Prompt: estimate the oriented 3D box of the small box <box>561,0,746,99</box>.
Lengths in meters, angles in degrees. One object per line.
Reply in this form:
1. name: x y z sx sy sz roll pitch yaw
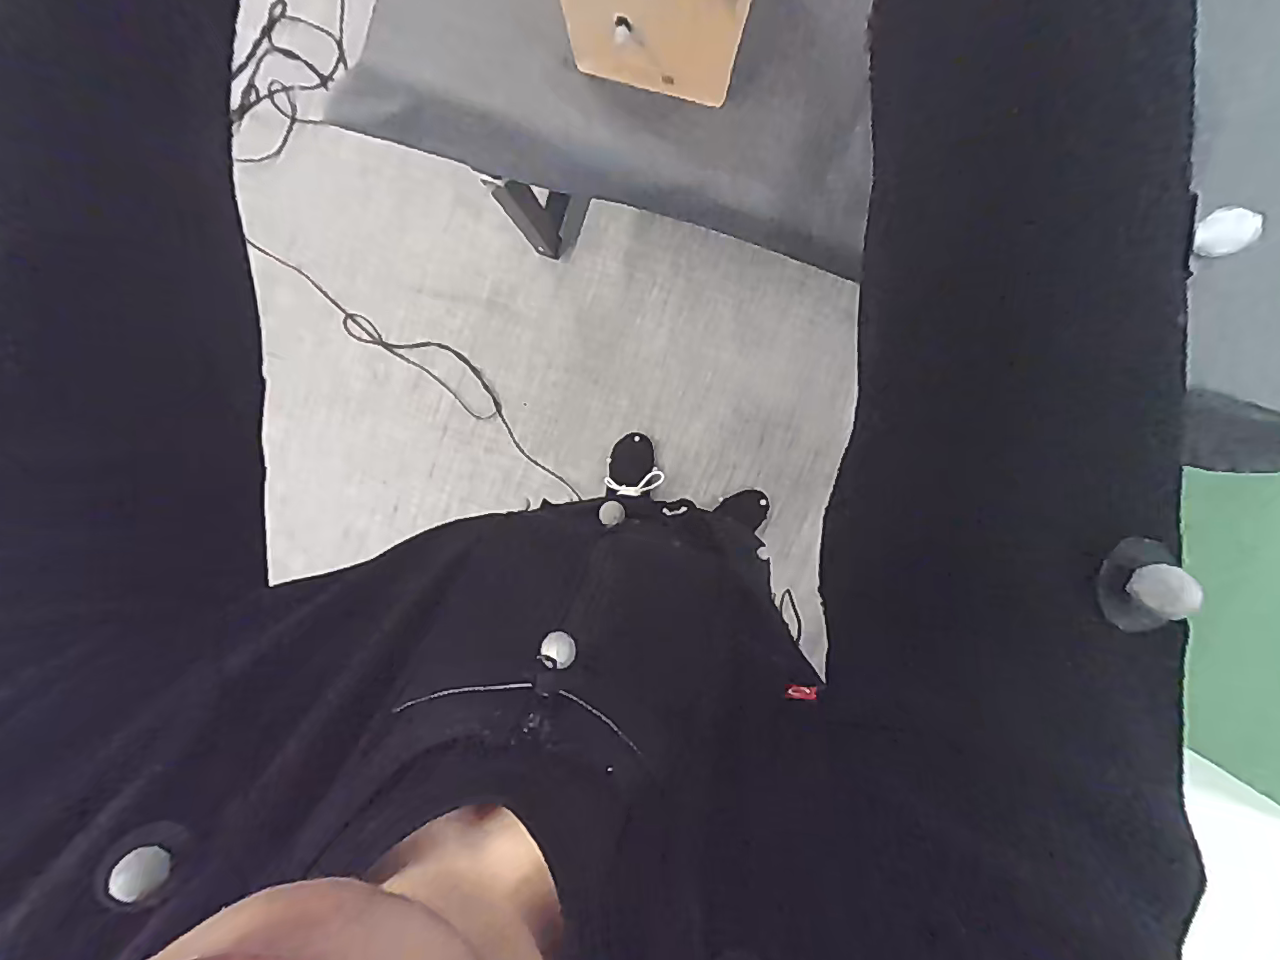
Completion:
1. small box: 0.025 -0.505 0.504 0.168 0.176 0.179 15 96 0
